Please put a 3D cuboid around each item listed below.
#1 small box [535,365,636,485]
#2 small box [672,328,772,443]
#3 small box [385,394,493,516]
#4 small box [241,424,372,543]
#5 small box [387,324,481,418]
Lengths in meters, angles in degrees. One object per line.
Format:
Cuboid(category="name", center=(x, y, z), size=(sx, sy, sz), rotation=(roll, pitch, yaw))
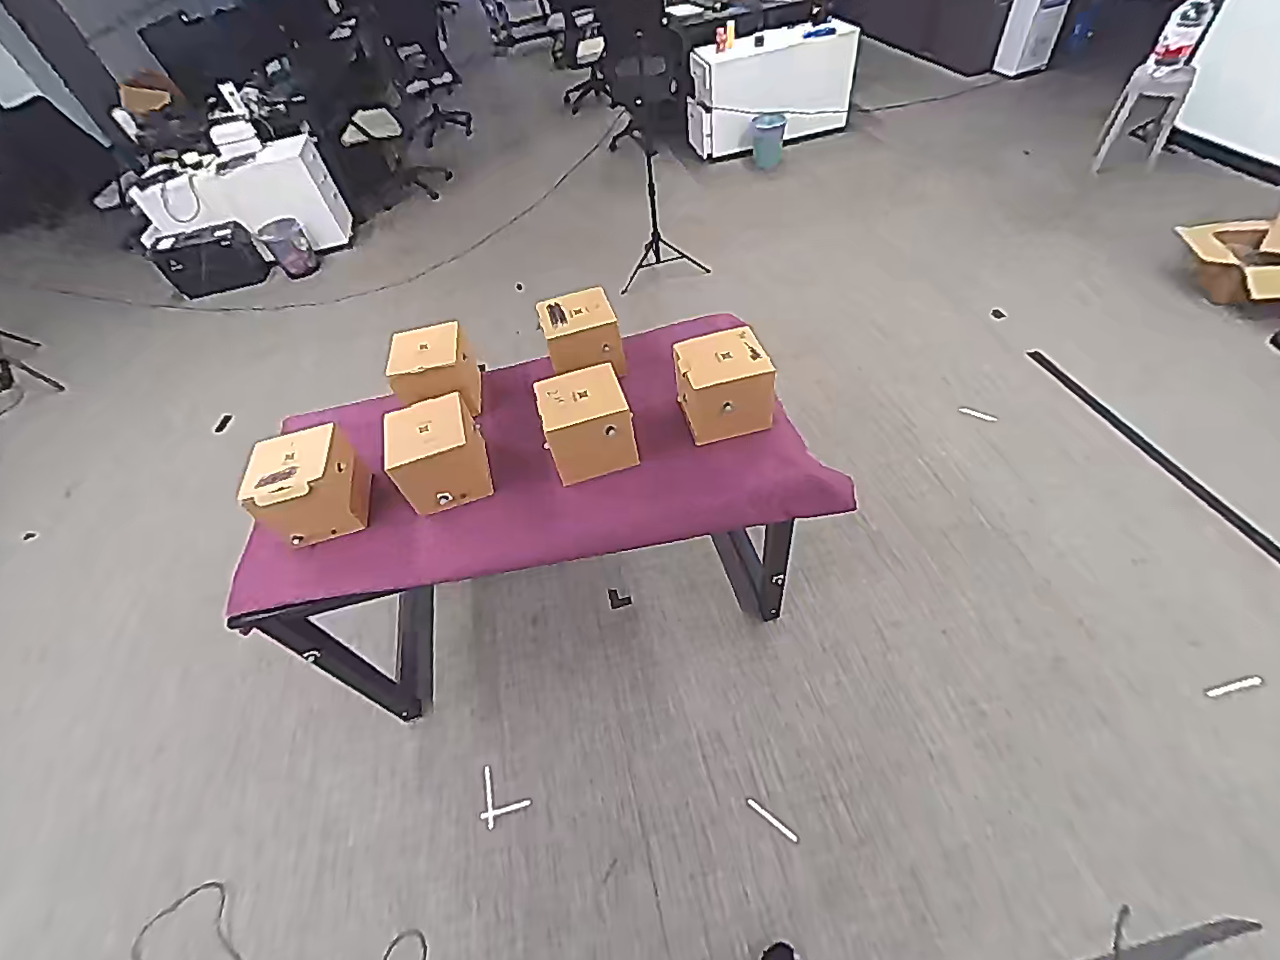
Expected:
Cuboid(category="small box", center=(-0.113, -0.117, 1.171), size=(0.179, 0.176, 0.168), rotation=(-17, 49, -4))
Cuboid(category="small box", center=(0.182, -0.204, 1.195), size=(0.179, 0.176, 0.168), rotation=(-14, 50, -1))
Cuboid(category="small box", center=(-0.432, -0.052, 1.172), size=(0.168, 0.176, 0.179), rotation=(-19, 50, -5))
Cuboid(category="small box", center=(-0.698, 0.015, 1.156), size=(0.168, 0.176, 0.179), rotation=(-16, 48, -4))
Cuboid(category="small box", center=(-0.504, -0.259, 1.351), size=(0.168, 0.176, 0.179), rotation=(-12, 50, -2))
